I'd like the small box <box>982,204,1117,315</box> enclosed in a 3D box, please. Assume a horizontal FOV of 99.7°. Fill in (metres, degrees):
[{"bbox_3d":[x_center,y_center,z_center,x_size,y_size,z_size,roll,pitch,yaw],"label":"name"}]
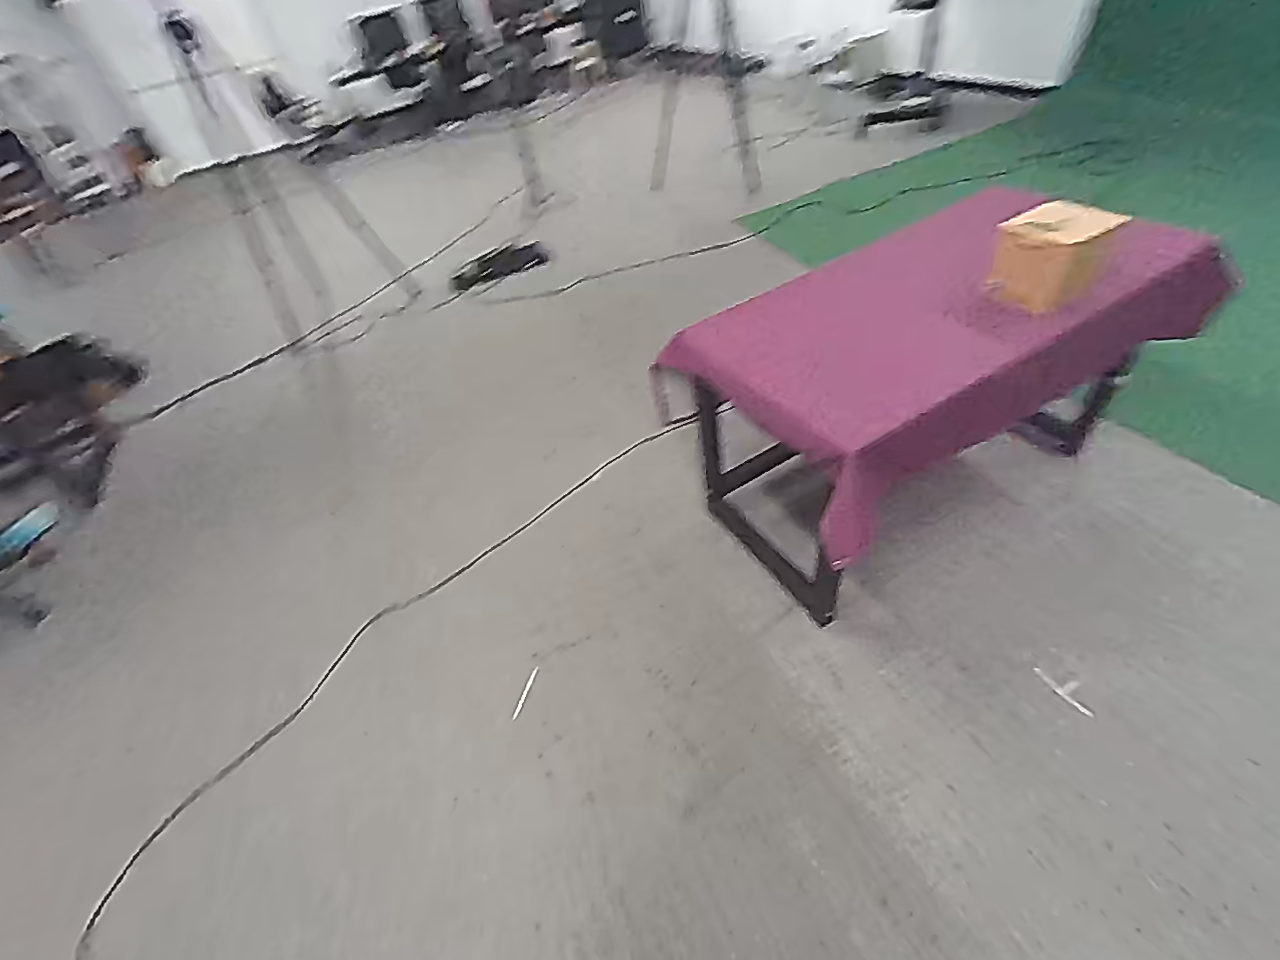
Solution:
[{"bbox_3d":[0.929,-0.507,1.249,0.179,0.176,0.168,-27,47,-14],"label":"small box"}]
